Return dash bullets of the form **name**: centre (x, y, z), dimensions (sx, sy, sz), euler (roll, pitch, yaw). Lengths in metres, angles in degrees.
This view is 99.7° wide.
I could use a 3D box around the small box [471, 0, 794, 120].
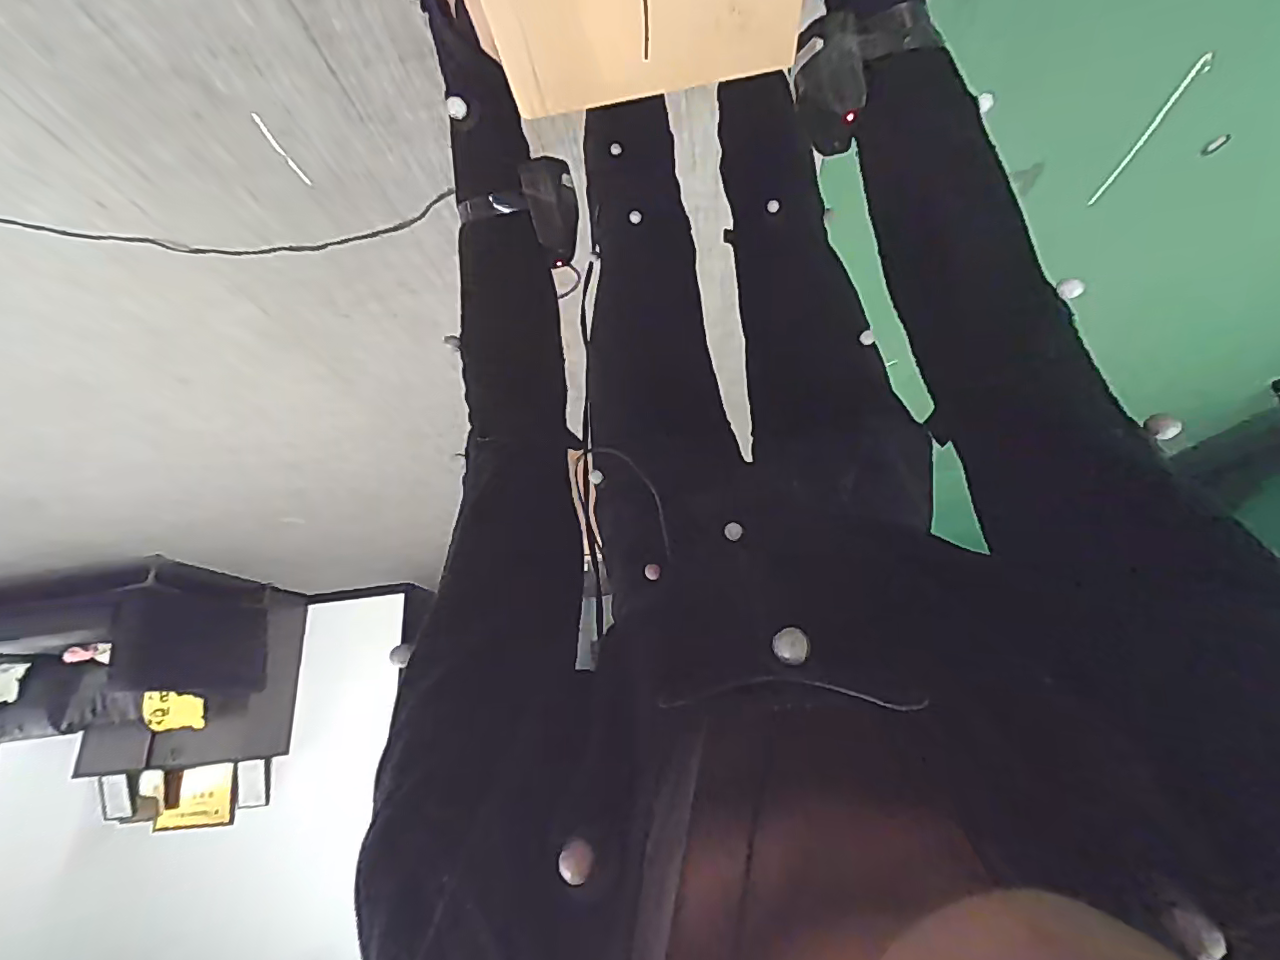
- **small box**: centre (-0.015, -0.331, 0.268), dimensions (0.168, 0.176, 0.179), euler (-7, 158, 6)
